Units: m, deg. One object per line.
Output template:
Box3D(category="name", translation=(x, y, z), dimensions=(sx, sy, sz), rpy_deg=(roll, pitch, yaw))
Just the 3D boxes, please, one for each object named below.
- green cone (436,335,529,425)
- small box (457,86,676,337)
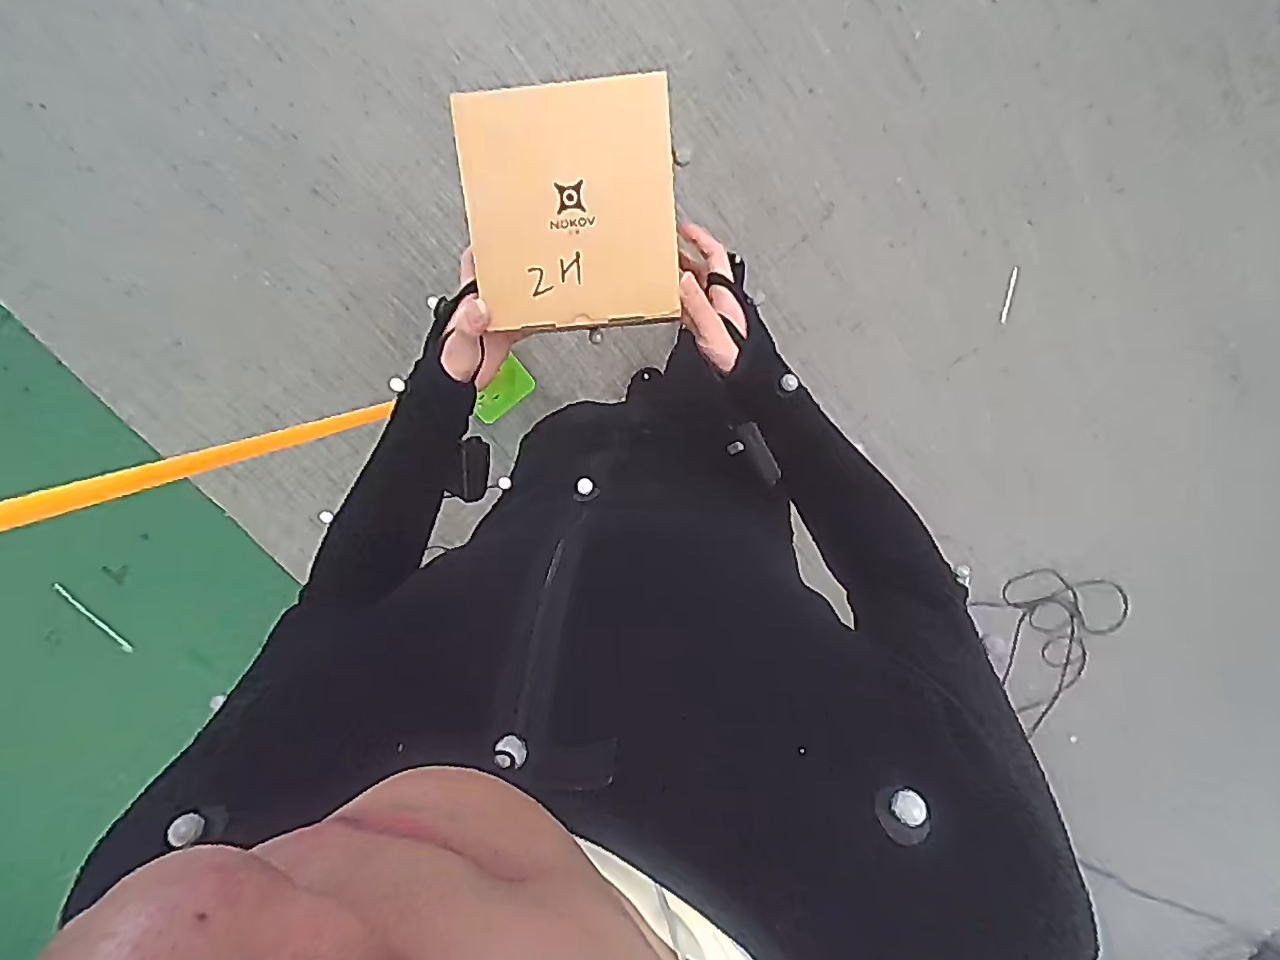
Box3D(category="green cone", translation=(-0.452, -0.237, 1.400), dimensions=(0.200, 0.368, 0.202), rpy_deg=(-36, 103, 11))
Box3D(category="small box", translation=(-0.055, -0.232, 0.514), dimensions=(0.168, 0.176, 0.179), rpy_deg=(-4, 105, 3))
